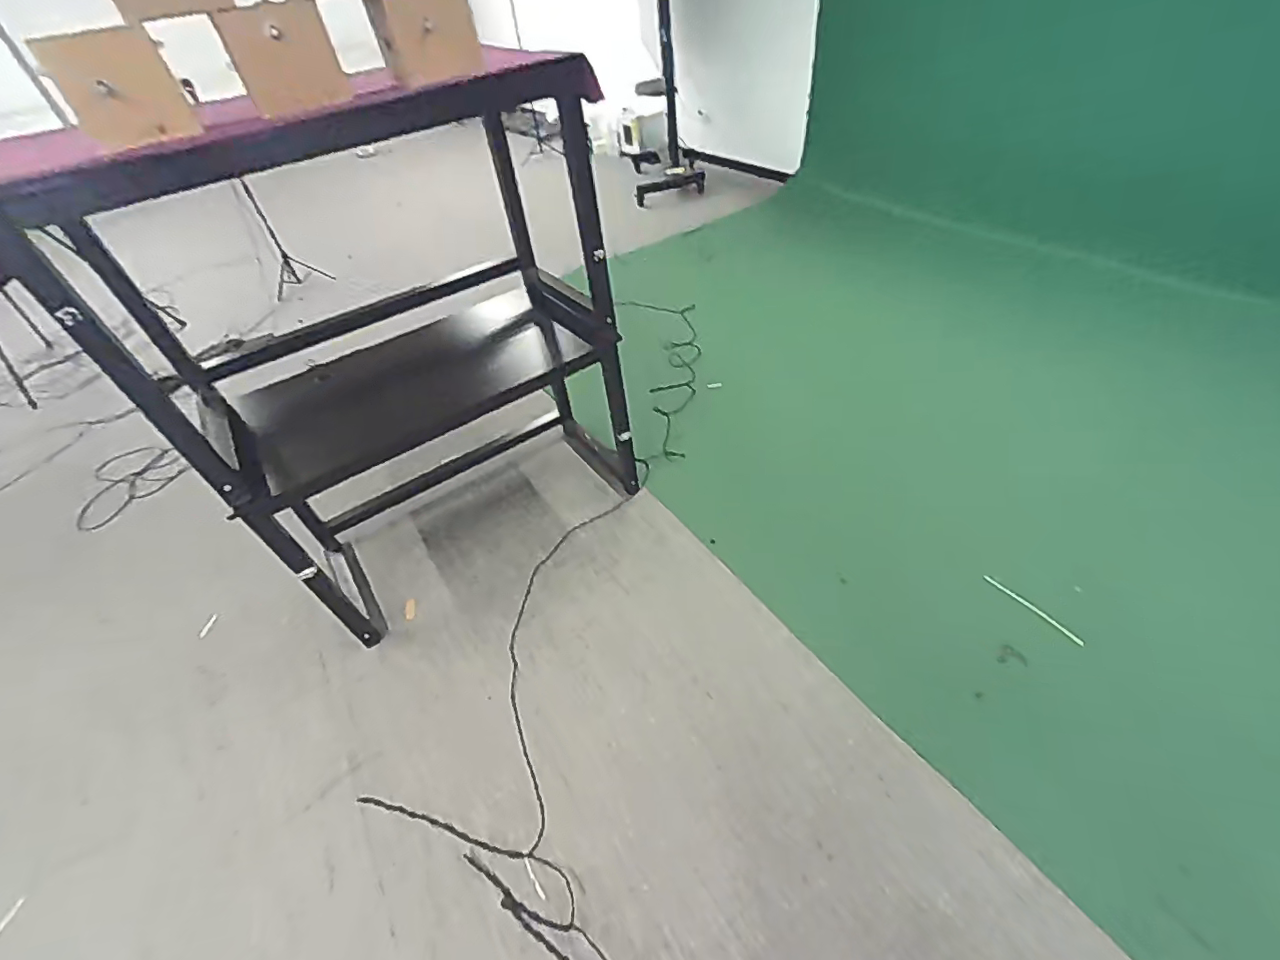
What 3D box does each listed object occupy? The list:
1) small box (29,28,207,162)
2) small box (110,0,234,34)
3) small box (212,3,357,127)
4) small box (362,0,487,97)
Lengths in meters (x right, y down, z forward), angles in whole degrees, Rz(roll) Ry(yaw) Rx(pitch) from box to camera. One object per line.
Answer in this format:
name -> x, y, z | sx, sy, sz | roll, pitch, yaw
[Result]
small box -> -0.922, -0.690, 0.974 | 0.168, 0.176, 0.179 | -30, 47, -22
small box -> -0.829, -0.880, 0.918 | 0.179, 0.176, 0.168 | -31, 48, -21
small box -> -0.701, -0.819, 1.073 | 0.179, 0.176, 0.168 | -29, 47, -20
small box -> -0.462, -0.954, 1.172 | 0.179, 0.176, 0.168 | -31, 49, -20
